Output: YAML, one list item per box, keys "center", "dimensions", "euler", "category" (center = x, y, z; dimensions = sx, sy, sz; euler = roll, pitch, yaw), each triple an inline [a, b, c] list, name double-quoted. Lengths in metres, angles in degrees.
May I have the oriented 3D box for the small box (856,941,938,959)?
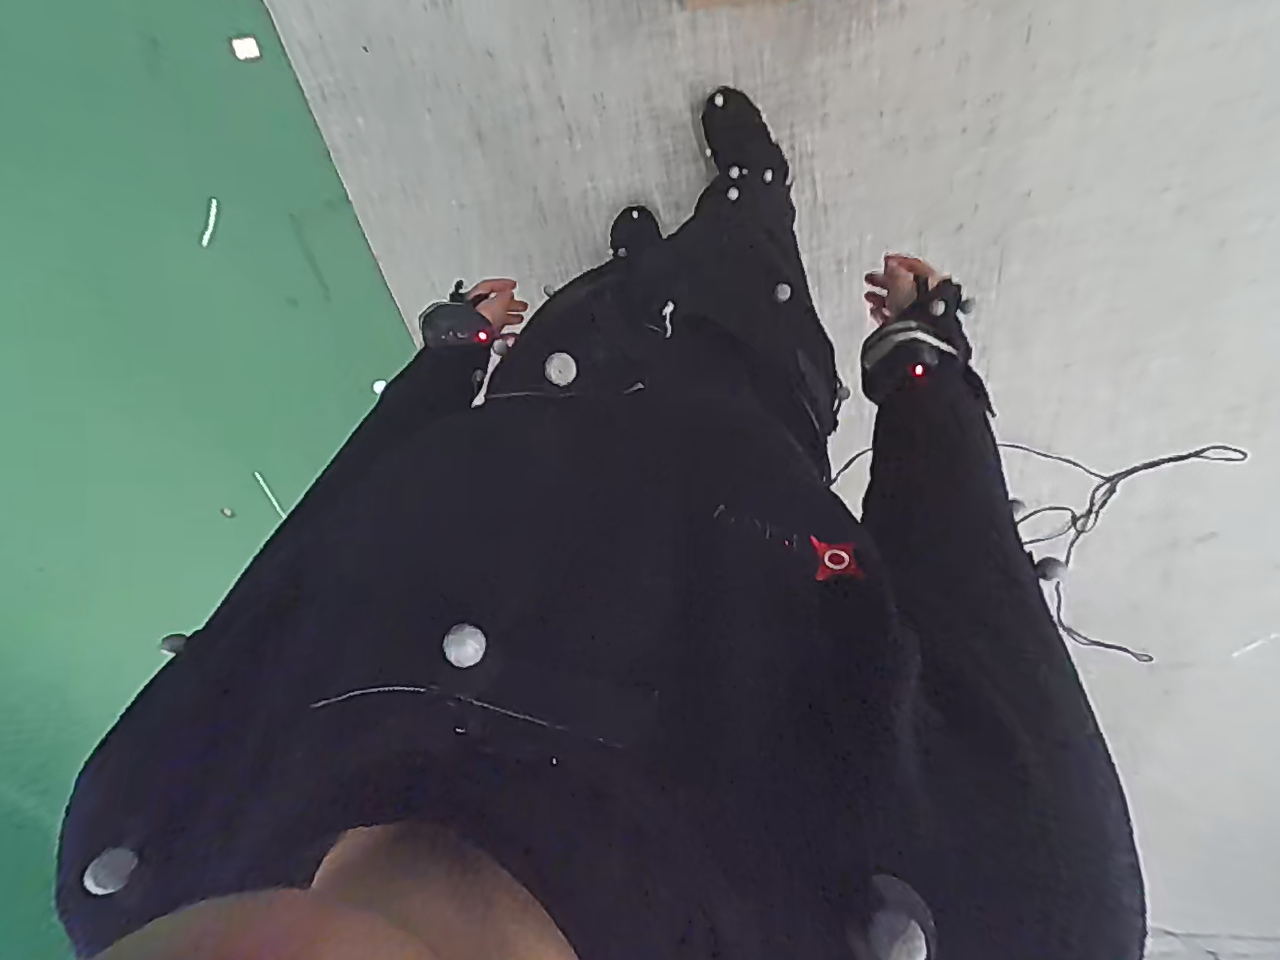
- center: [0.629, 1.227, 1.284]
  dimensions: [0.179, 0.176, 0.168]
  euler: [-7, 124, 10]
  category: "small box"
